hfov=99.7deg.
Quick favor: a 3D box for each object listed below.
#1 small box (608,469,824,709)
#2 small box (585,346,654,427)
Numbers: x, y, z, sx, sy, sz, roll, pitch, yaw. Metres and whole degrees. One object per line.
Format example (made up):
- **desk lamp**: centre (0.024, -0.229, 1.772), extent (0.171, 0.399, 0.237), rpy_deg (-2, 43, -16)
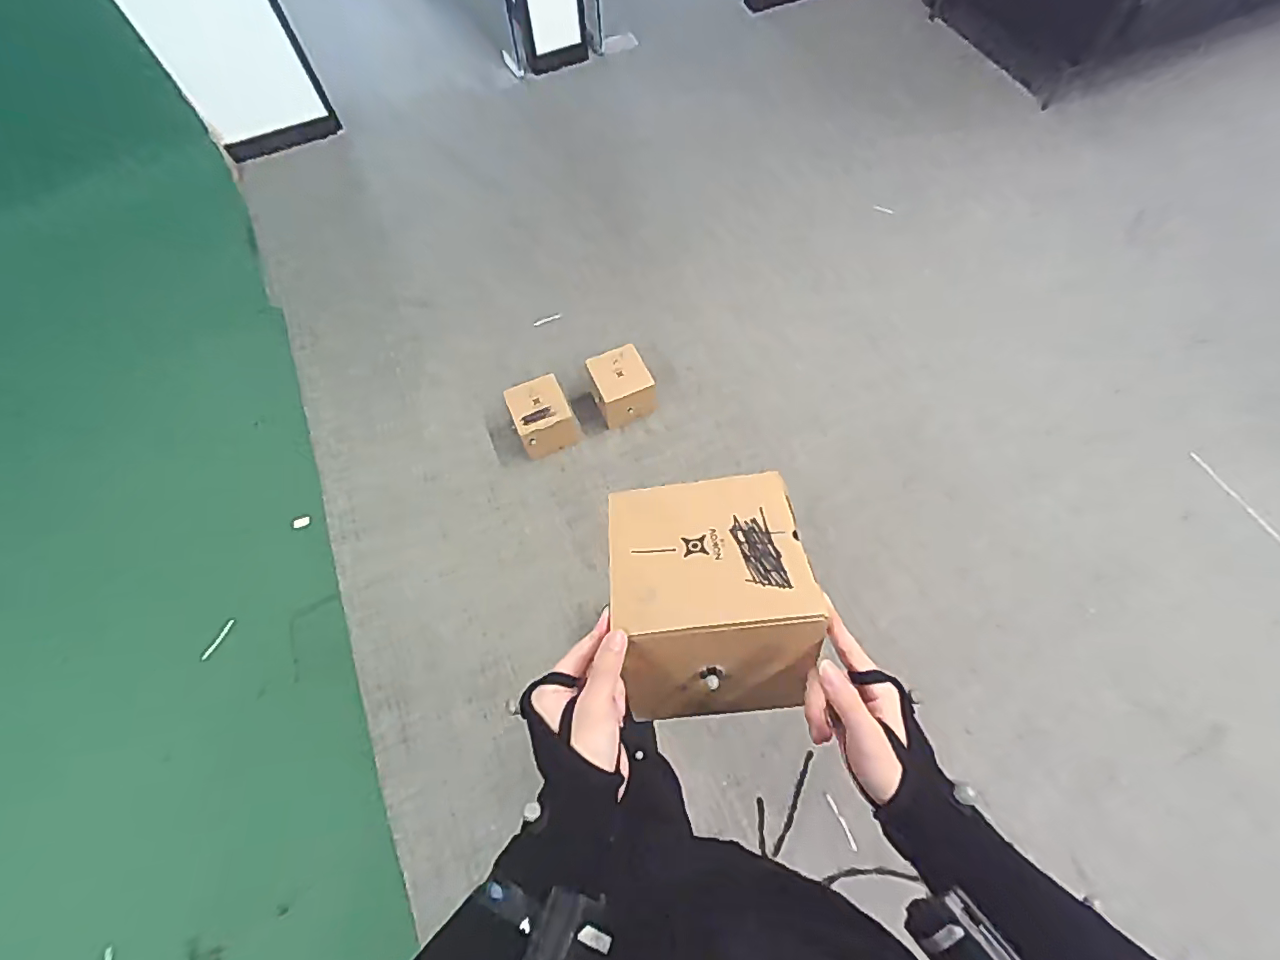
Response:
- **small box**: centre (0.066, 0.111, 0.542), extent (0.179, 0.176, 0.168), rpy_deg (-7, 43, 3)
- **small box**: centre (-0.062, -0.290, 1.731), extent (0.168, 0.176, 0.179), rpy_deg (-22, 66, -9)
